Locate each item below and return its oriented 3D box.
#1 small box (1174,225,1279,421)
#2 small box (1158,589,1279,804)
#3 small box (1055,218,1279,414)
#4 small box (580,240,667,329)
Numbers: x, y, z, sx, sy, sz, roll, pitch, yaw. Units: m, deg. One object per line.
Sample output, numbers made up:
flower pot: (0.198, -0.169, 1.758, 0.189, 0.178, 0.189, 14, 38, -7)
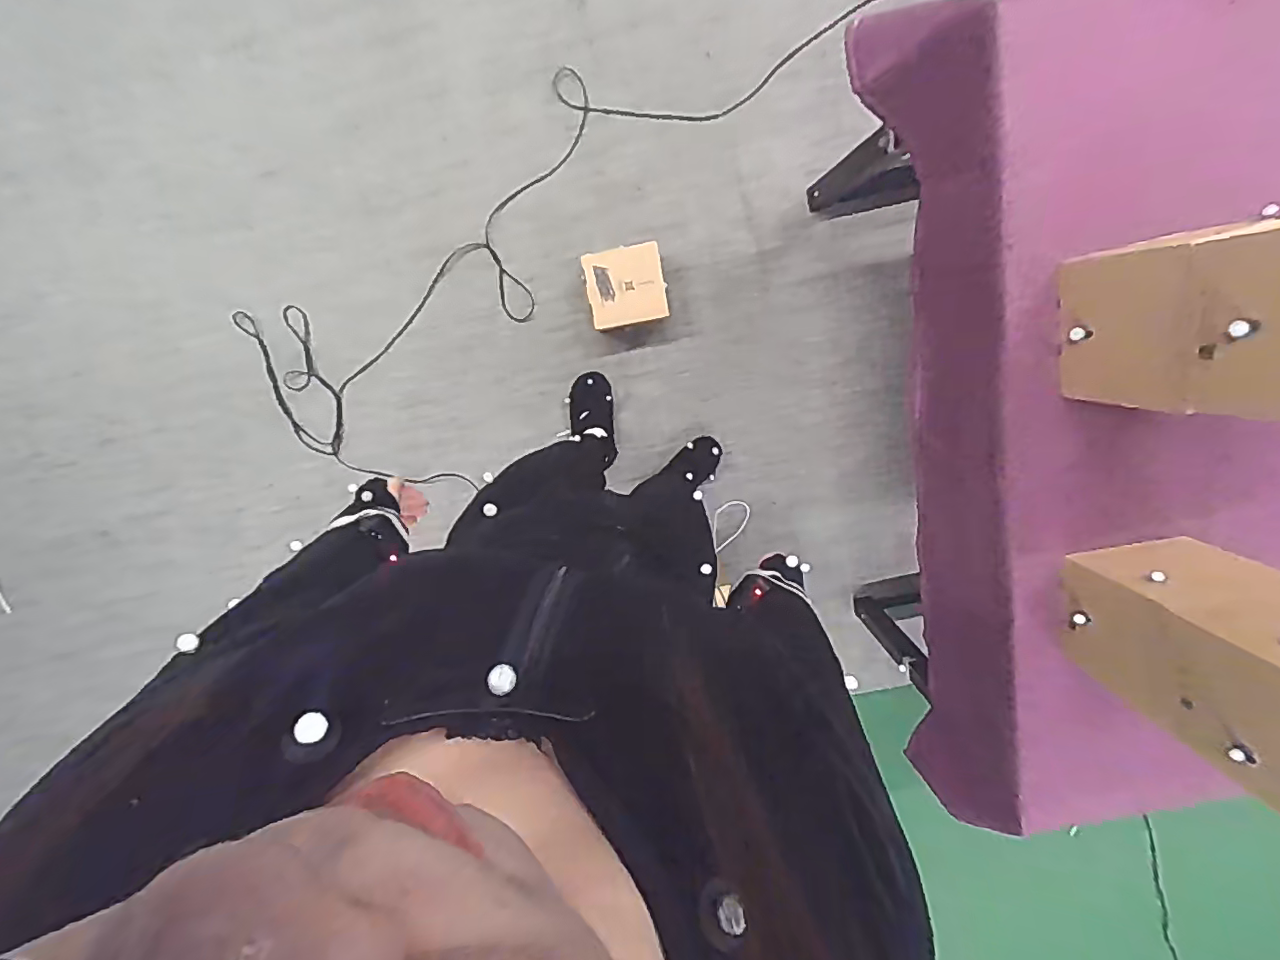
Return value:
small box: (0.634, -0.148, 0.467, 0.179, 0.176, 0.168, -11, 105, 2)
small box: (0.712, 0.231, 0.574, 0.179, 0.176, 0.168, -11, 106, 1)
small box: (0.623, -0.191, 0.627, 0.168, 0.176, 0.179, -13, 106, 1)
small box: (-0.038, -0.458, 1.292, 0.179, 0.176, 0.168, -11, 105, 0)
